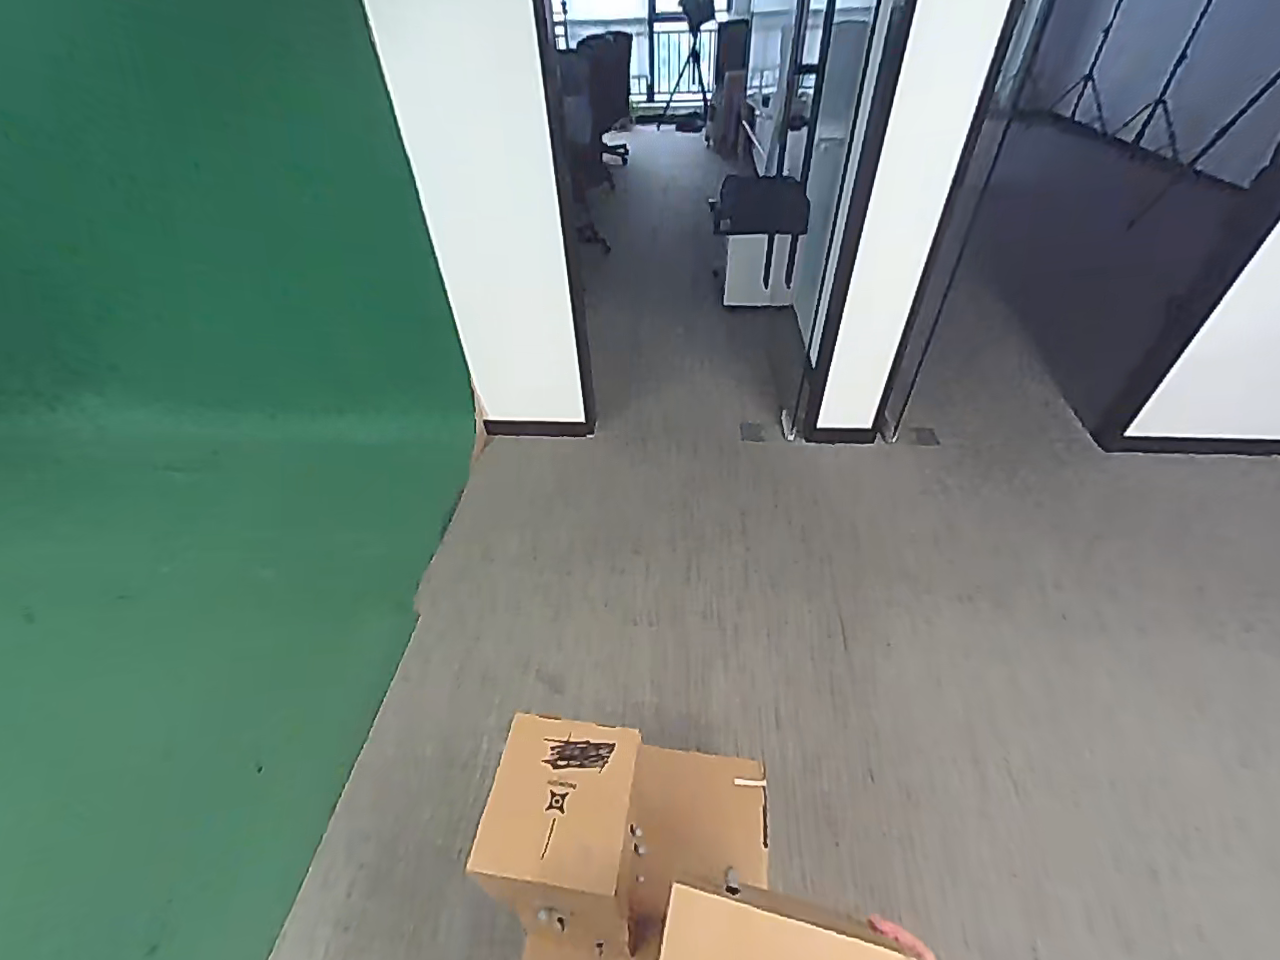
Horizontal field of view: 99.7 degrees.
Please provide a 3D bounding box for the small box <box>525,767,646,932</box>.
[{"bbox_3d":[-0.083,0.536,0.804,0.168,0.176,0.179,4,43,7],"label":"small box"}]

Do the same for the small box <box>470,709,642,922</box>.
[{"bbox_3d":[-0.090,0.423,0.686,0.168,0.176,0.179,4,43,8],"label":"small box"}]

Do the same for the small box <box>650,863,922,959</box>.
[{"bbox_3d":[0.092,0.410,0.406,0.179,0.176,0.168,10,61,12],"label":"small box"}]

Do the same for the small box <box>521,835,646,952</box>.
[{"bbox_3d":[-0.083,0.660,0.911,0.168,0.176,0.179,4,41,8],"label":"small box"}]
